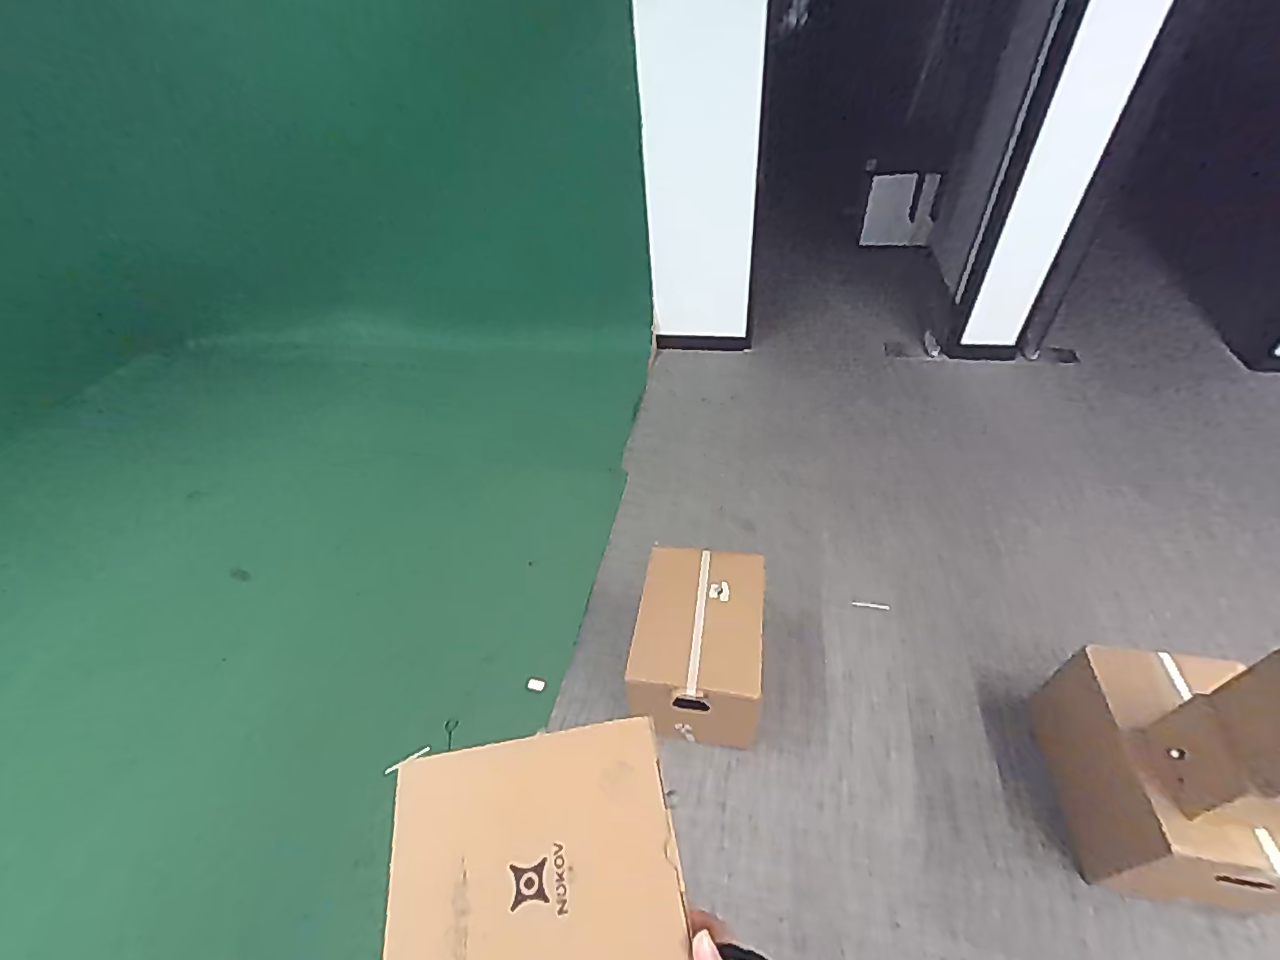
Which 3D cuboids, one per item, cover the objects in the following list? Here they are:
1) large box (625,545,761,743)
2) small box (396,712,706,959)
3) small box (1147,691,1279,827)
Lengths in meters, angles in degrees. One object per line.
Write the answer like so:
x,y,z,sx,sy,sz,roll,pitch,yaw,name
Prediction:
0.159,0.437,1.461,0.320,0.320,0.408,4,45,11,large box
-0.058,0.288,0.394,0.179,0.176,0.168,-8,52,-5,small box
1.077,0.497,0.961,0.179,0.176,0.168,2,46,10,small box
